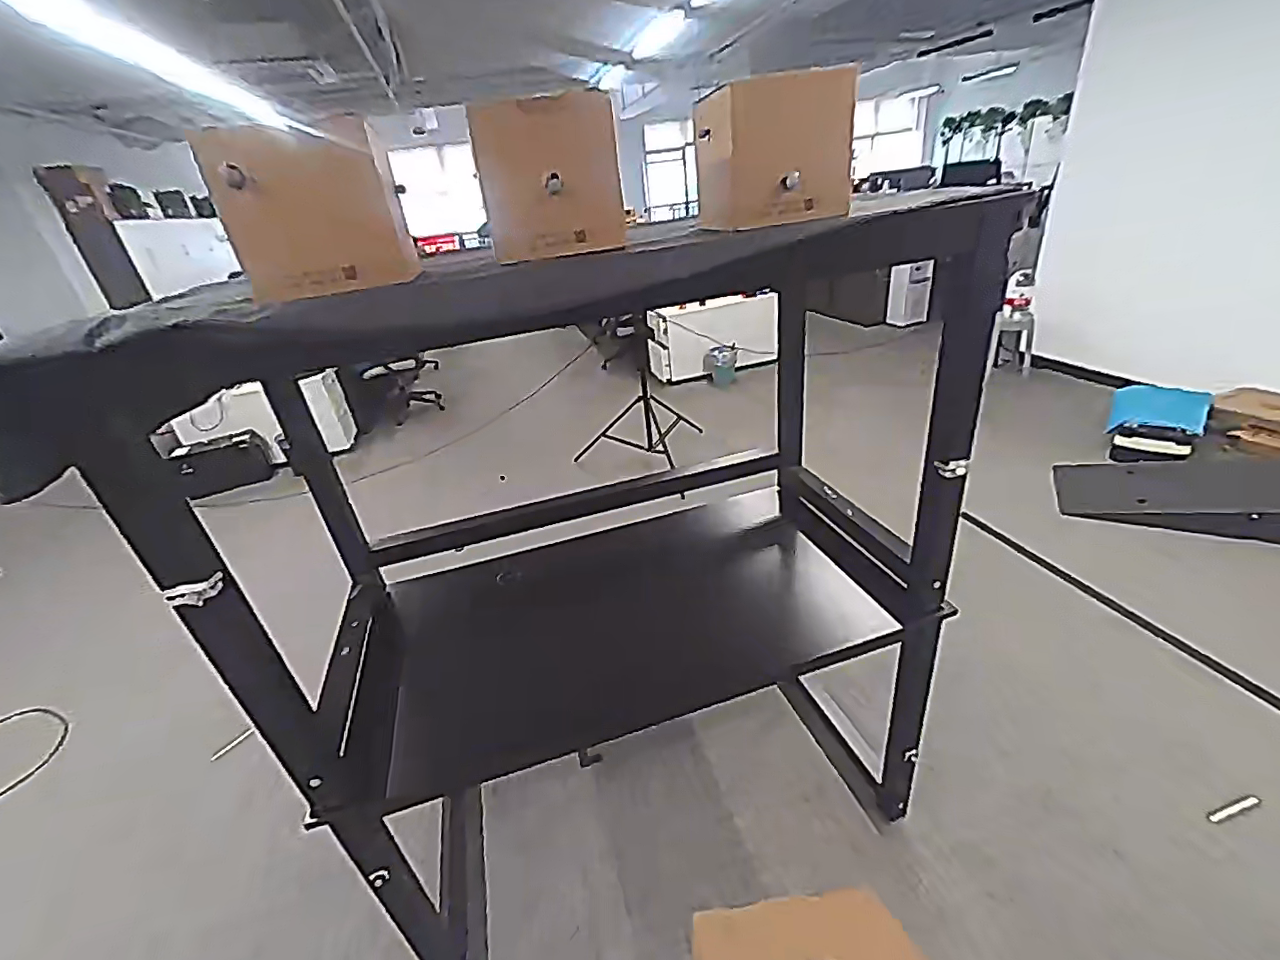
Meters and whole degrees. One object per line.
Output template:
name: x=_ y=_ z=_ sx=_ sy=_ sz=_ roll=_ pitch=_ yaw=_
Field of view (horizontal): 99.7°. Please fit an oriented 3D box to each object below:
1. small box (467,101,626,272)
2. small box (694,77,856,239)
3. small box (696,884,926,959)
small box: x=-0.122 y=-0.371 z=0.705 sx=0.168 sy=0.176 sz=0.179 roll=-13 pitch=27 yaw=-12
small box: x=0.179 y=-0.440 z=0.761 sx=0.168 sy=0.176 sz=0.179 roll=-11 pitch=28 yaw=-6
small box: x=0.139 y=0.446 z=0.390 sx=0.168 sy=0.176 sz=0.179 roll=-4 pitch=-1 yaw=-7
